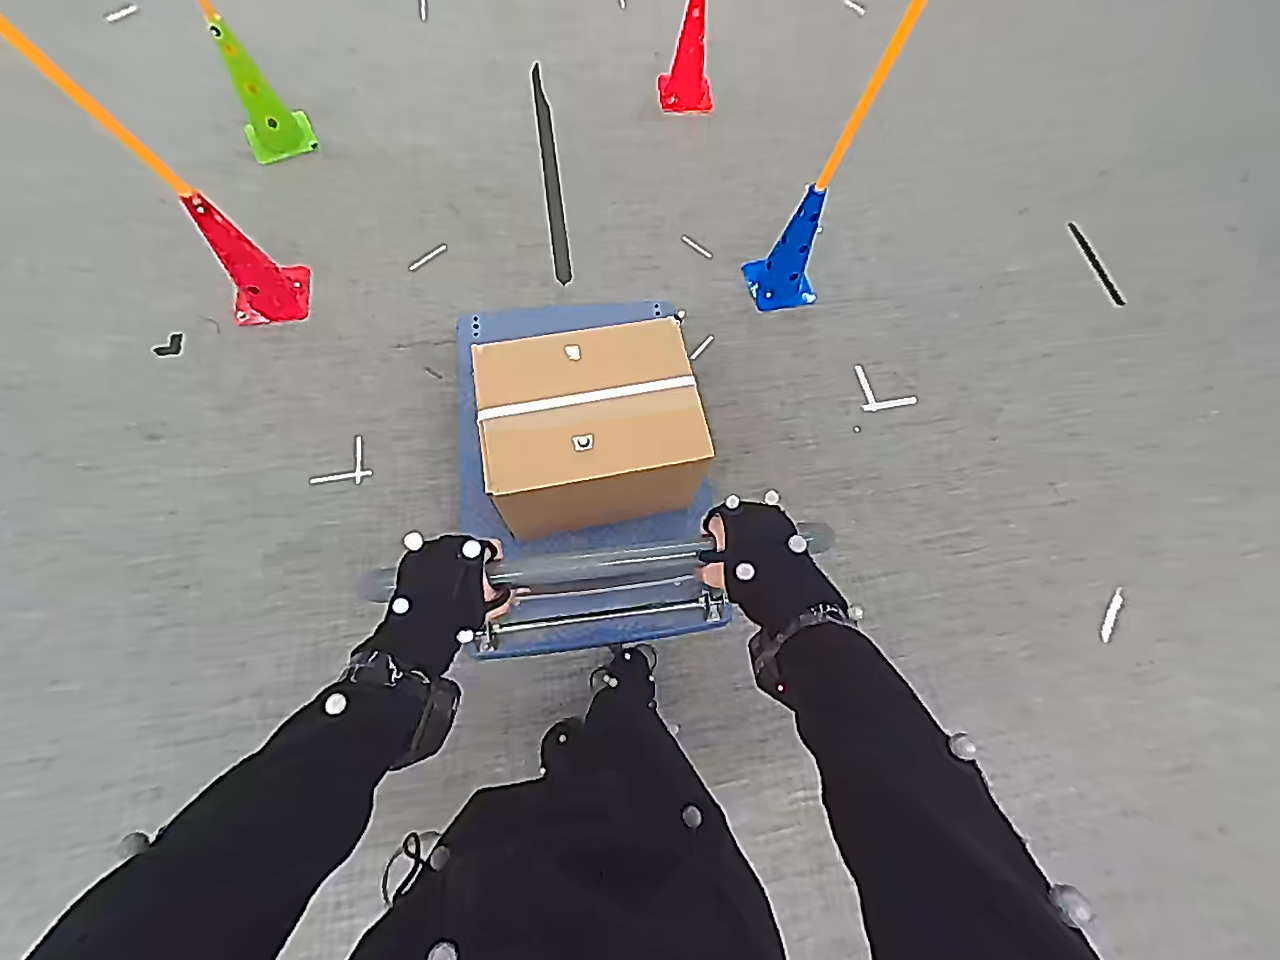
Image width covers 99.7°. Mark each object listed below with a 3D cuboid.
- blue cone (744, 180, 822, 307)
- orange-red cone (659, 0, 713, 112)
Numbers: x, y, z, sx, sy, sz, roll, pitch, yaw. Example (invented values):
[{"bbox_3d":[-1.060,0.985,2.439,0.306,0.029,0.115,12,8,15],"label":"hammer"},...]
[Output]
[{"bbox_3d":[0.458,-0.703,1.599,0.193,0.380,0.192,-11,69,-9],"label":"blue cone"},{"bbox_3d":[0.186,-1.524,1.884,0.199,0.360,0.198,-1,69,-6],"label":"orange-red cone"}]
